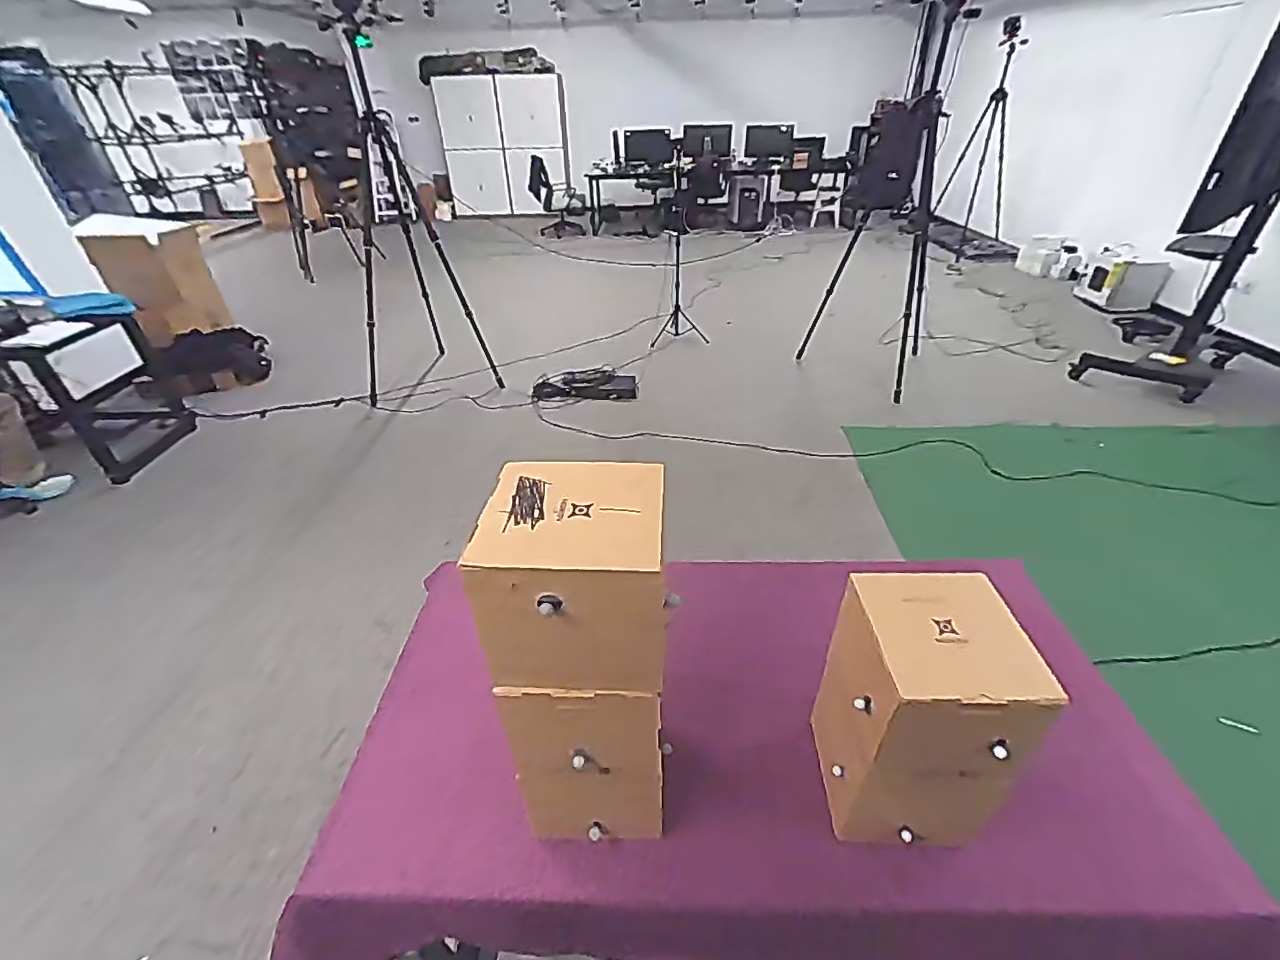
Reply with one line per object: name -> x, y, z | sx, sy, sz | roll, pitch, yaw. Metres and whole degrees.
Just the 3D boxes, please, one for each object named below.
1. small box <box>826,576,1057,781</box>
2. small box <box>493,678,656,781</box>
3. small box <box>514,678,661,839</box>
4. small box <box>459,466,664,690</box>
small box -> 0.336, 0.235, 0.647 | 0.168, 0.176, 0.179 | 0, 35, 2
small box -> -0.065, 0.235, 0.660 | 0.168, 0.176, 0.179 | -1, 35, 2
small box -> -0.063, 0.373, 0.751 | 0.179, 0.176, 0.168 | -1, 35, 0
small box -> -0.064, 0.100, 0.566 | 0.179, 0.176, 0.168 | 1, 35, 3
